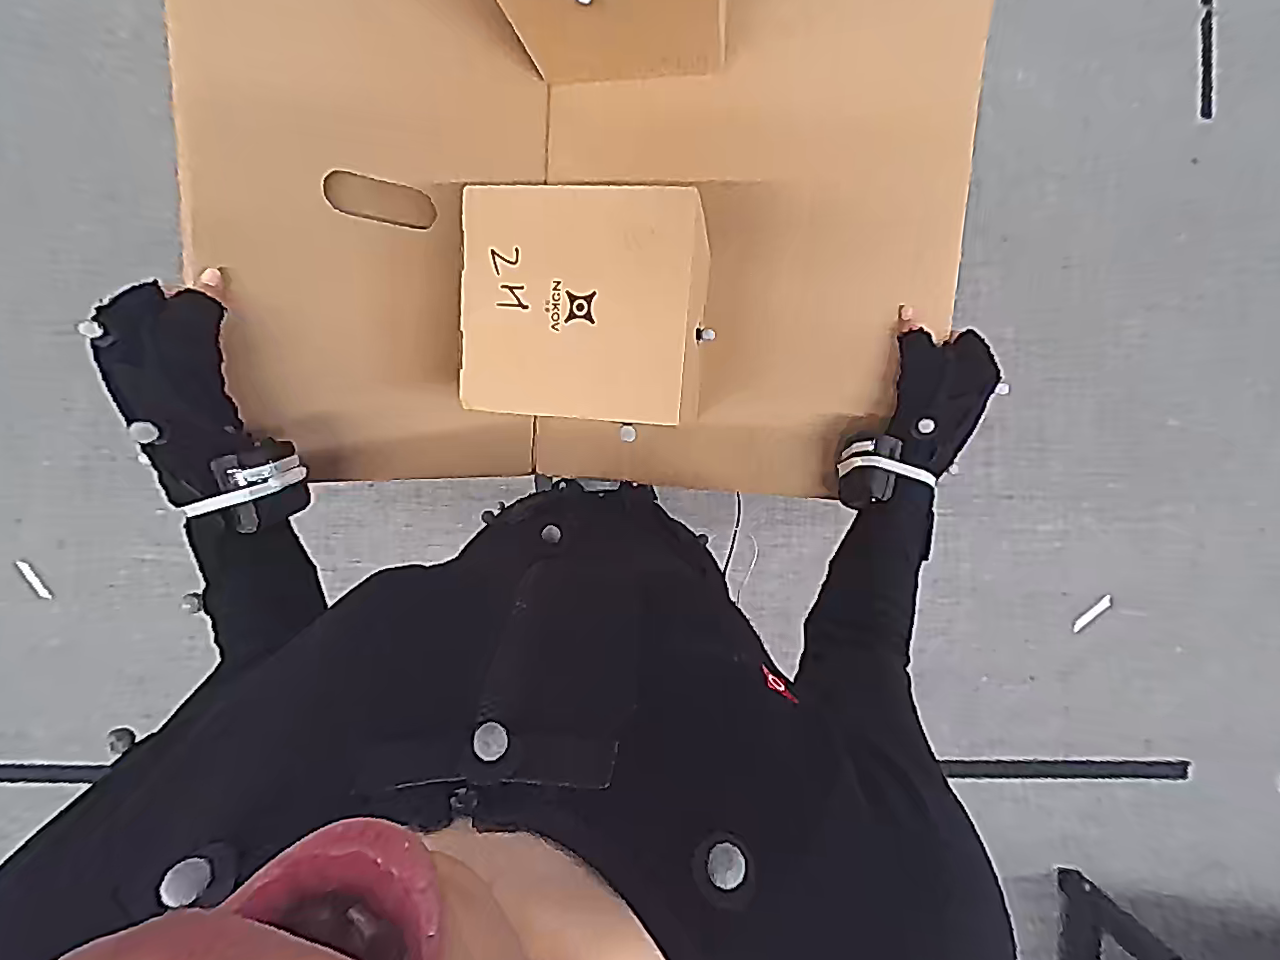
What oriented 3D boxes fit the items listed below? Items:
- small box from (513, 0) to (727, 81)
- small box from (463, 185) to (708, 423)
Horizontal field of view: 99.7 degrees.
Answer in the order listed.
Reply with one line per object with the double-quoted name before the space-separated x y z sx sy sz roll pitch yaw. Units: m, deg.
"small box" -0.018 -0.460 0.439 0.179 0.176 0.168 4 98 9
"small box" -0.036 -0.144 0.485 0.179 0.176 0.168 6 99 10
